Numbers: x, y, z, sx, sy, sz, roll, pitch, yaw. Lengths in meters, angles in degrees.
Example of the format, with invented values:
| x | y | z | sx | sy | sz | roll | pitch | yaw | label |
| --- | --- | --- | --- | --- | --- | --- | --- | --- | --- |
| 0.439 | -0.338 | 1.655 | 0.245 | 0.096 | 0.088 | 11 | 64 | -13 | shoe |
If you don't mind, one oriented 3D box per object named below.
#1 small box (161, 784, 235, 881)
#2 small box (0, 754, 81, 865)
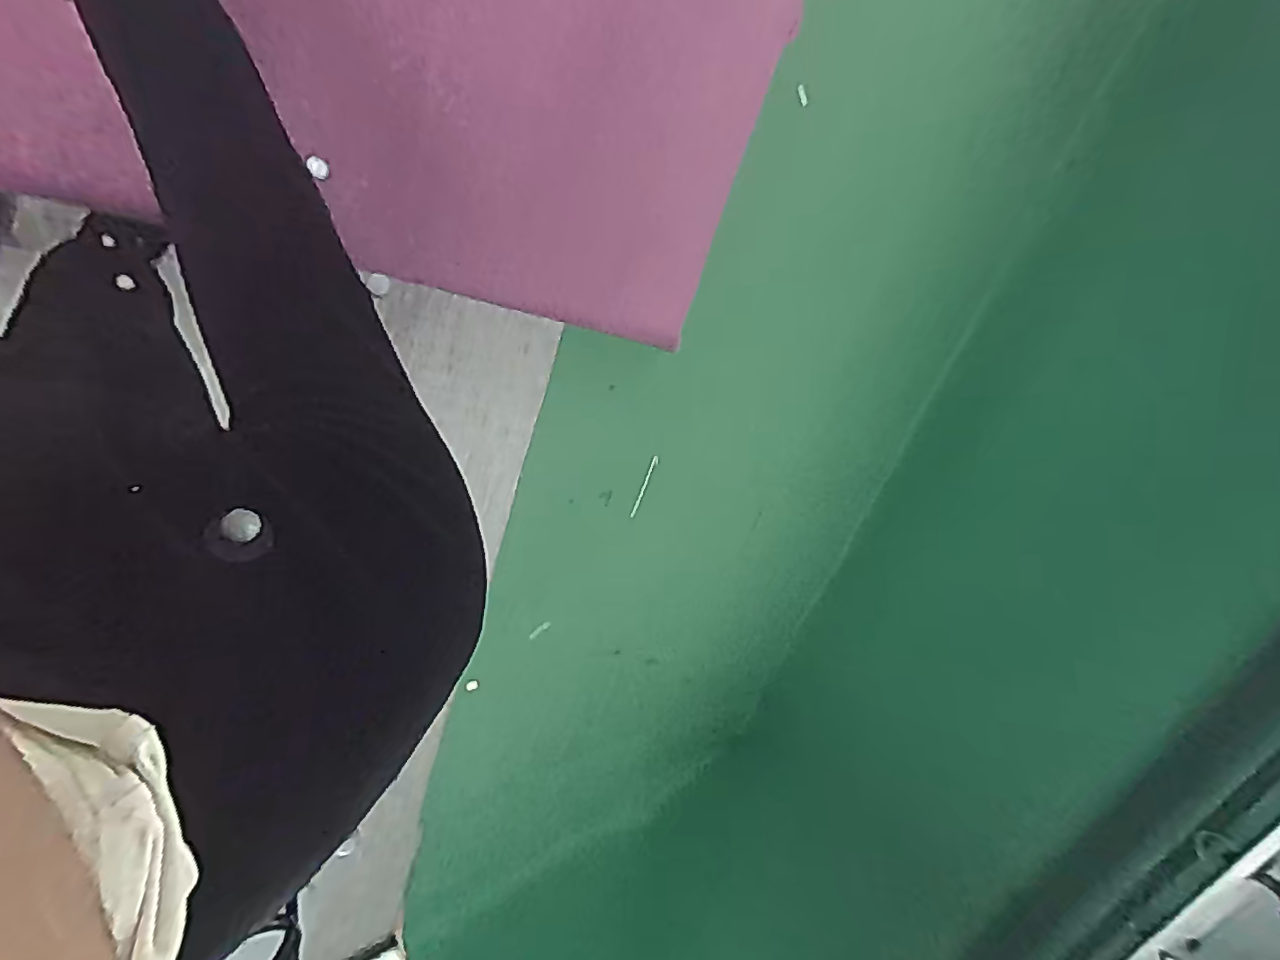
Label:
| x | y | z | sx | sy | sz | roll | pitch | yaw | label |
| --- | --- | --- | --- | --- | --- | --- | --- | --- | --- |
| -1.455 | 1.149 | 1.775 | 0.179 | 0.176 | 0.168 | 1 | 119 | -44 | small box |
| -1.604 | 0.863 | 1.425 | 0.179 | 0.176 | 0.168 | 0 | 118 | -42 | small box |
